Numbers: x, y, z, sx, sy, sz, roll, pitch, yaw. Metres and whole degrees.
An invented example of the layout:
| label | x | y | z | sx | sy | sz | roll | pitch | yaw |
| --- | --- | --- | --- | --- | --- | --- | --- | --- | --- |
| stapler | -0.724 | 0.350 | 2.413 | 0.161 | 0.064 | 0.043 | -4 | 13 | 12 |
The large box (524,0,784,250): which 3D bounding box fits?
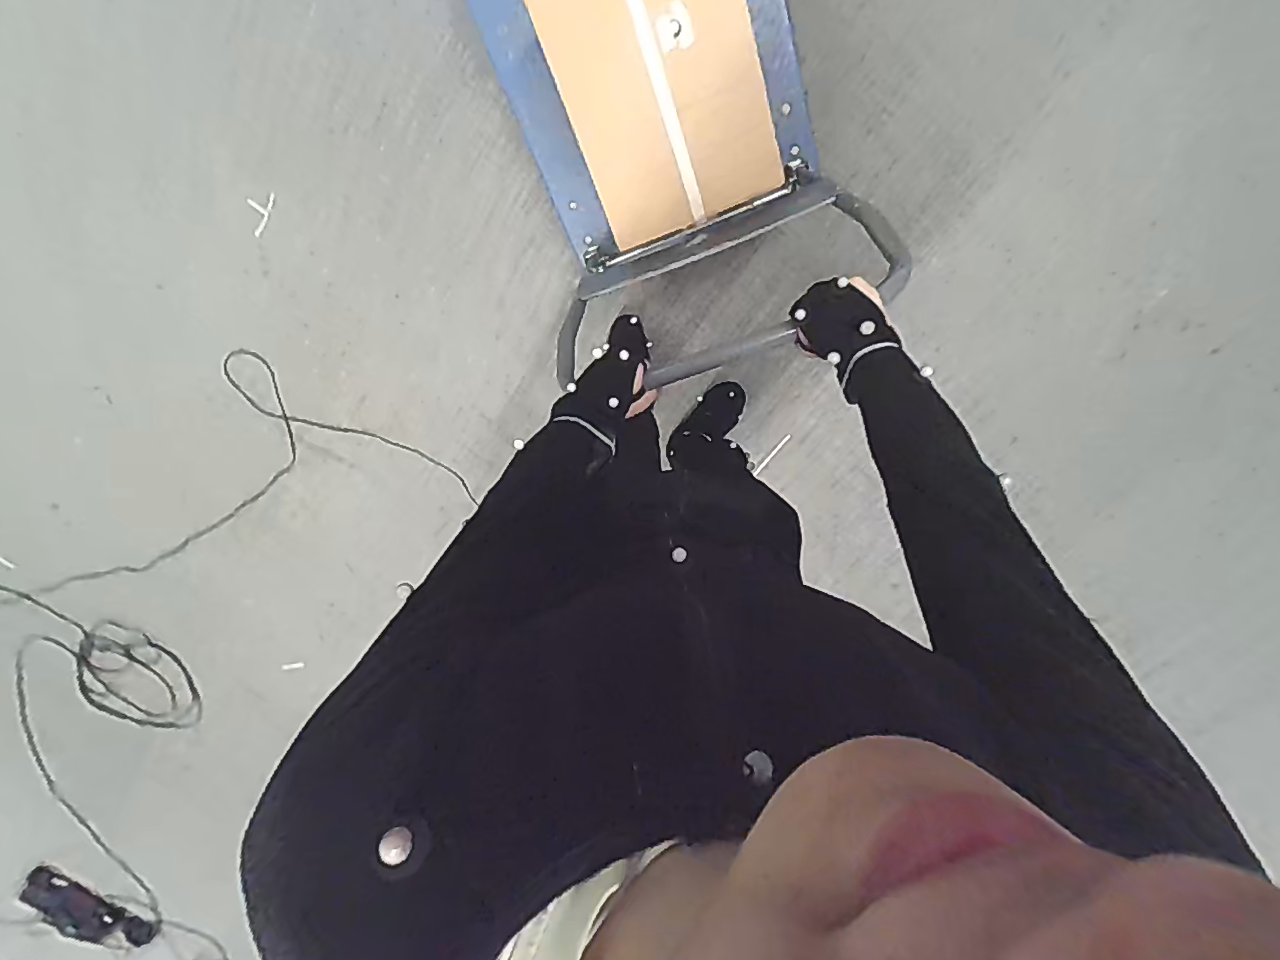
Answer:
| label | x | y | z | sx | sy | sz | roll | pitch | yaw |
| --- | --- | --- | --- | --- | --- | --- | --- | --- | --- |
| large box | 0.046 | -0.705 | 1.002 | 0.320 | 0.320 | 0.408 | -17 | 119 | 14 |
